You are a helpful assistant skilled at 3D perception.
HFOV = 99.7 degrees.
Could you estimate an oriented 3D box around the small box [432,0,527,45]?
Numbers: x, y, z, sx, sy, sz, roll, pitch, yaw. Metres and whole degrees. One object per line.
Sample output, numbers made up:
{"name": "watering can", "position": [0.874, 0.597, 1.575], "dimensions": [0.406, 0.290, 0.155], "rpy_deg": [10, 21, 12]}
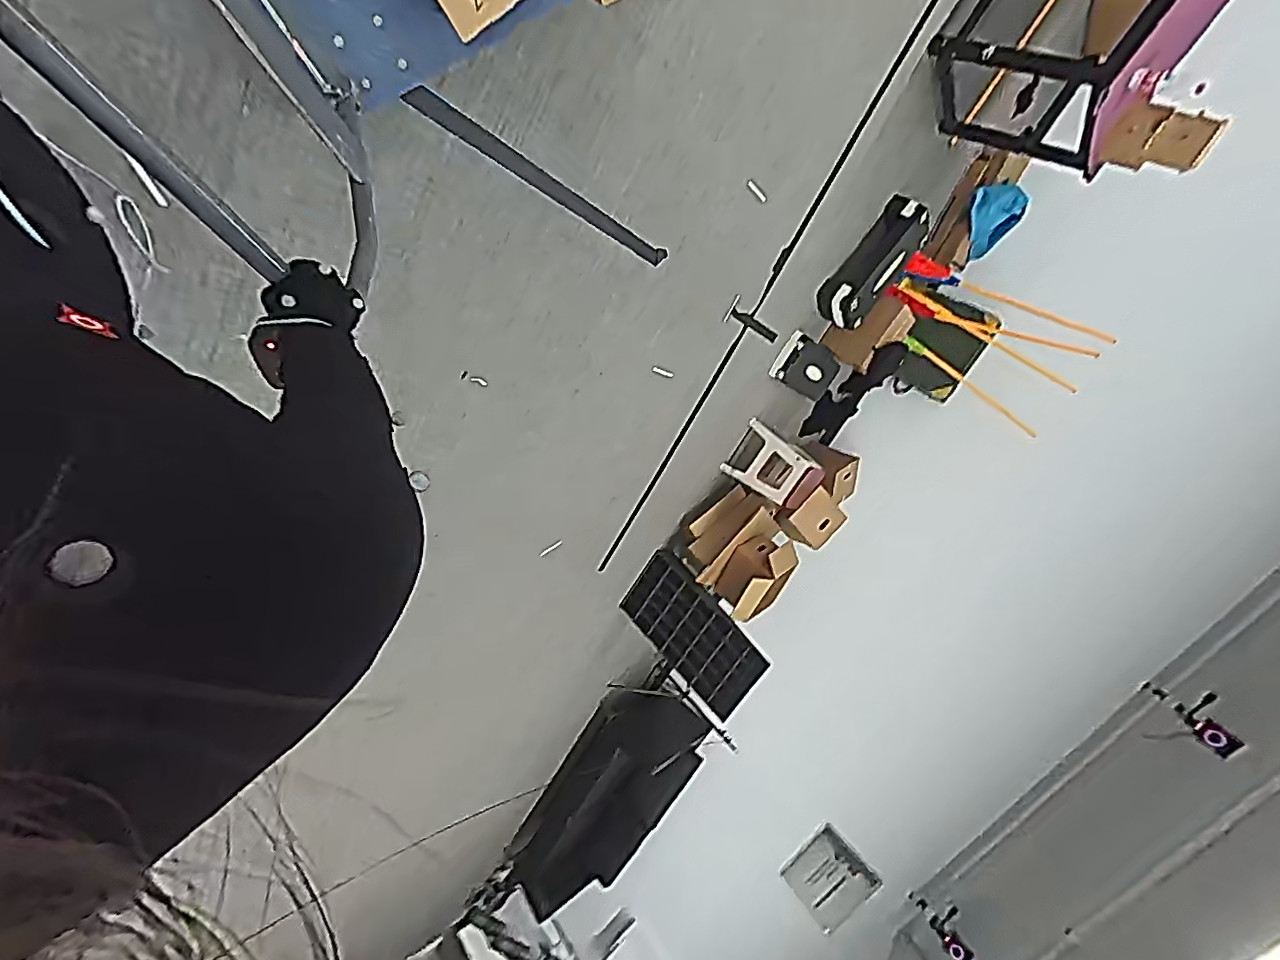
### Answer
{"name": "small box", "position": [-0.289, -0.861, 0.866], "dimensions": [0.168, 0.176, 0.179], "rpy_deg": [-31, 148, 6]}
